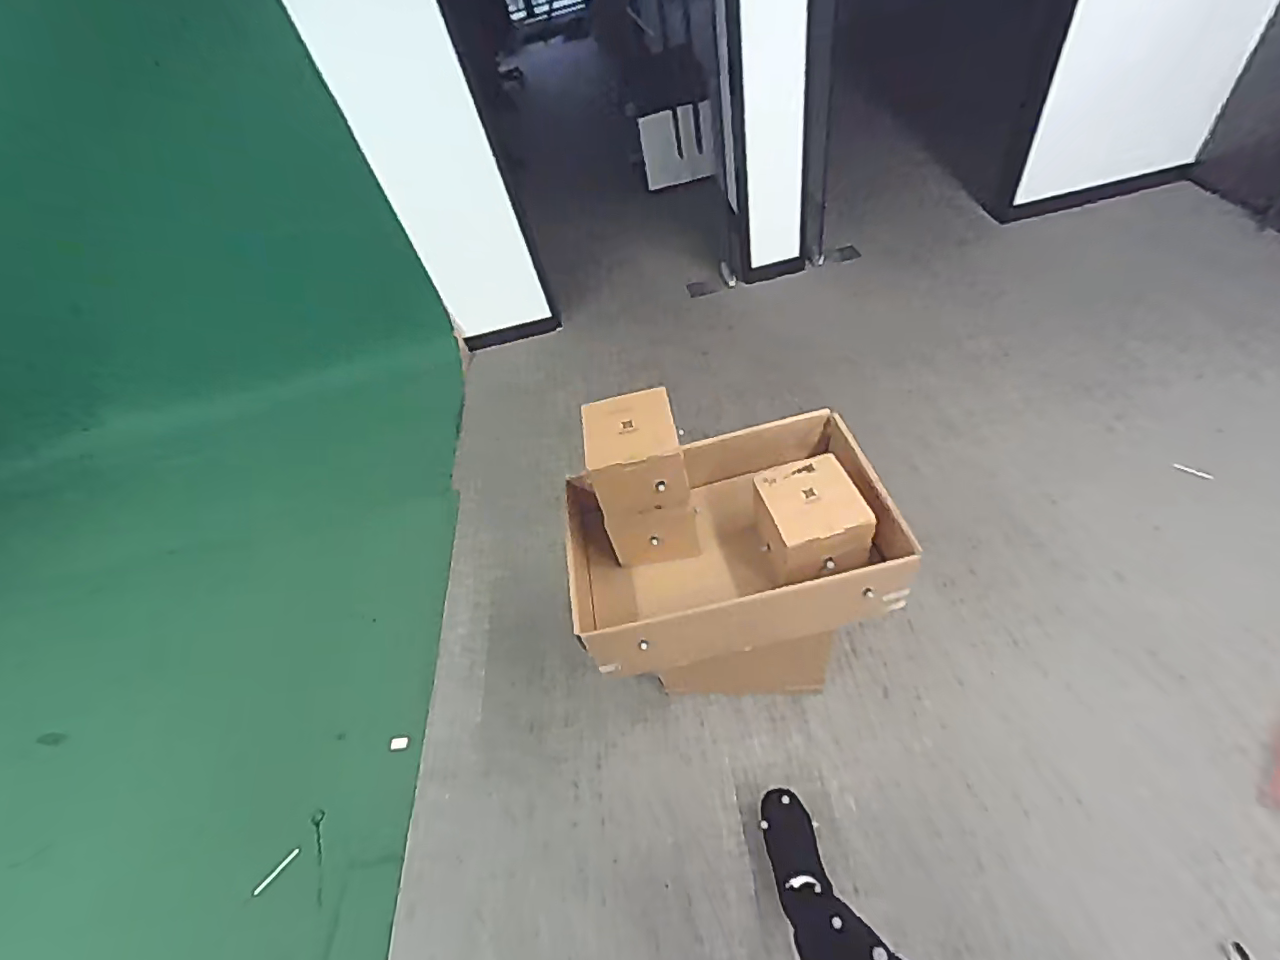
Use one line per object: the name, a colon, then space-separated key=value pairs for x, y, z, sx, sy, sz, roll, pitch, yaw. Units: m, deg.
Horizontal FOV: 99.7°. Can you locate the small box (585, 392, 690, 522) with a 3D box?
small box: x=-0.003 y=-0.036 z=1.029 sx=0.168 sy=0.176 sz=0.179 roll=-11 pitch=48 yaw=3
